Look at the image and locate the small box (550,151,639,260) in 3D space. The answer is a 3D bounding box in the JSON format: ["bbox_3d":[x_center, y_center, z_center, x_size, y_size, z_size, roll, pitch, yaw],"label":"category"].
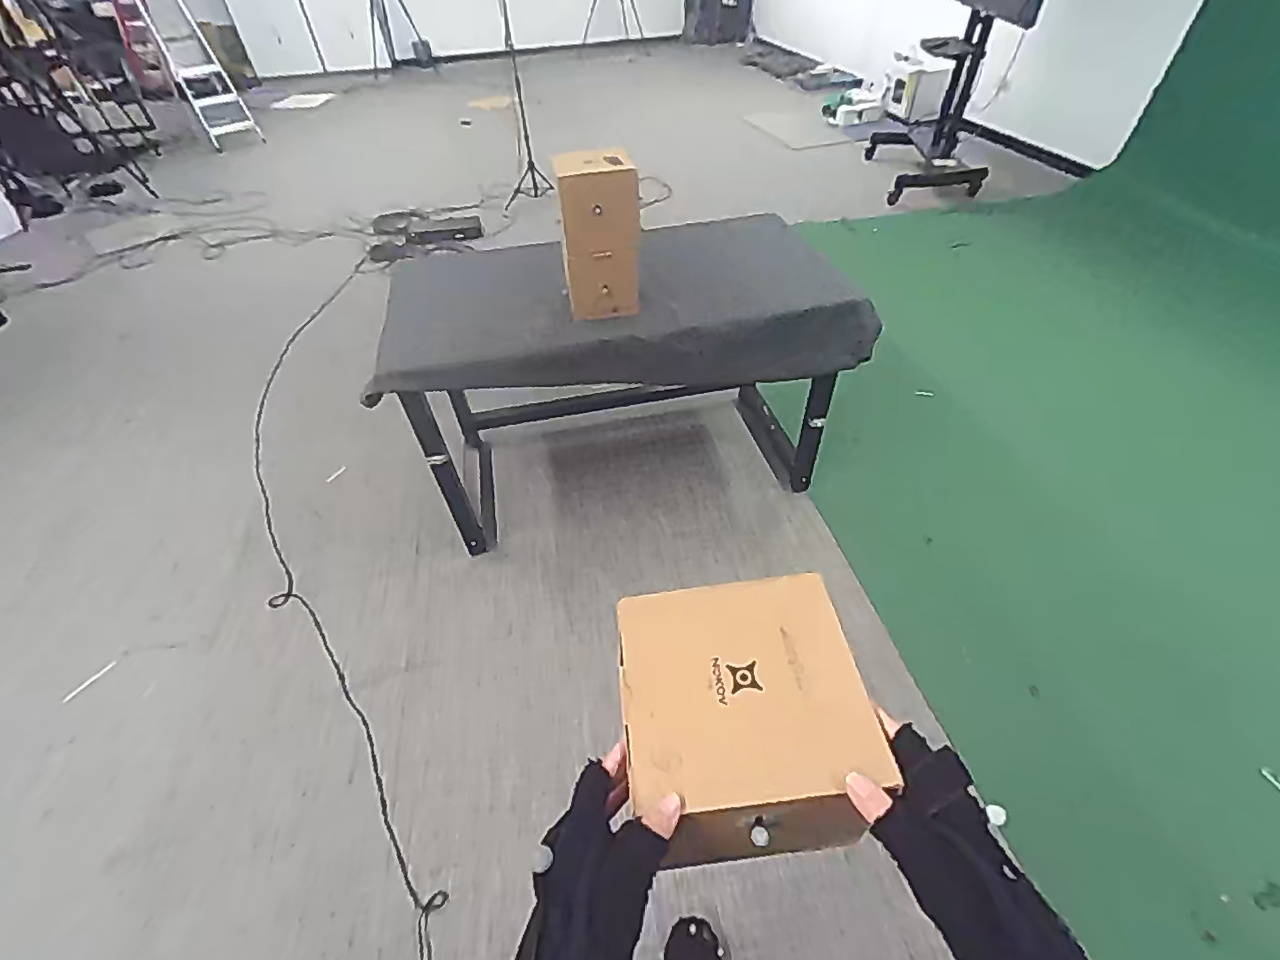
[{"bbox_3d":[-0.101,-0.628,1.240,0.179,0.176,0.168,-11,46,-5],"label":"small box"}]

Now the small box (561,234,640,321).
[{"bbox_3d":[-0.097,-0.514,1.360,0.168,0.176,0.179,-10,46,-5],"label":"small box"}]

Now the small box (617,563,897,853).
[{"bbox_3d":[0.083,0.197,0.461,0.179,0.176,0.168,-9,46,-1],"label":"small box"}]
